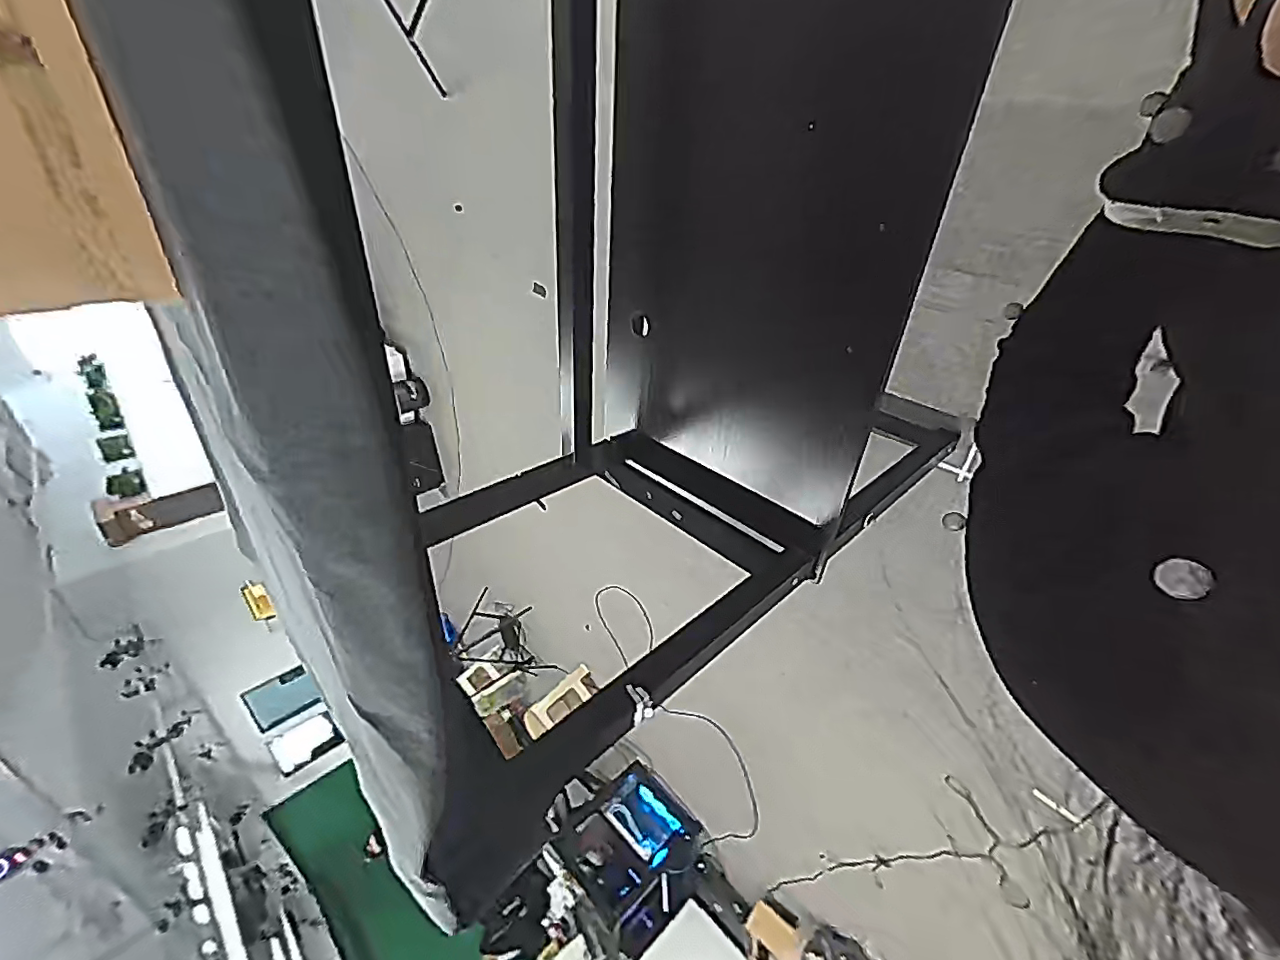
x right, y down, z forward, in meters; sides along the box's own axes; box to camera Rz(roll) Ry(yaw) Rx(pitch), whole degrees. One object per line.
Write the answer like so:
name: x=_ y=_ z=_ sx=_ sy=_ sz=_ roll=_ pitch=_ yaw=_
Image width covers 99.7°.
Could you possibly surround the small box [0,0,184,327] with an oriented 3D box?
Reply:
small box: x=-0.349 y=-0.173 z=0.247 sx=0.179 sy=0.176 sz=0.168 roll=36 pitch=135 yaw=35
